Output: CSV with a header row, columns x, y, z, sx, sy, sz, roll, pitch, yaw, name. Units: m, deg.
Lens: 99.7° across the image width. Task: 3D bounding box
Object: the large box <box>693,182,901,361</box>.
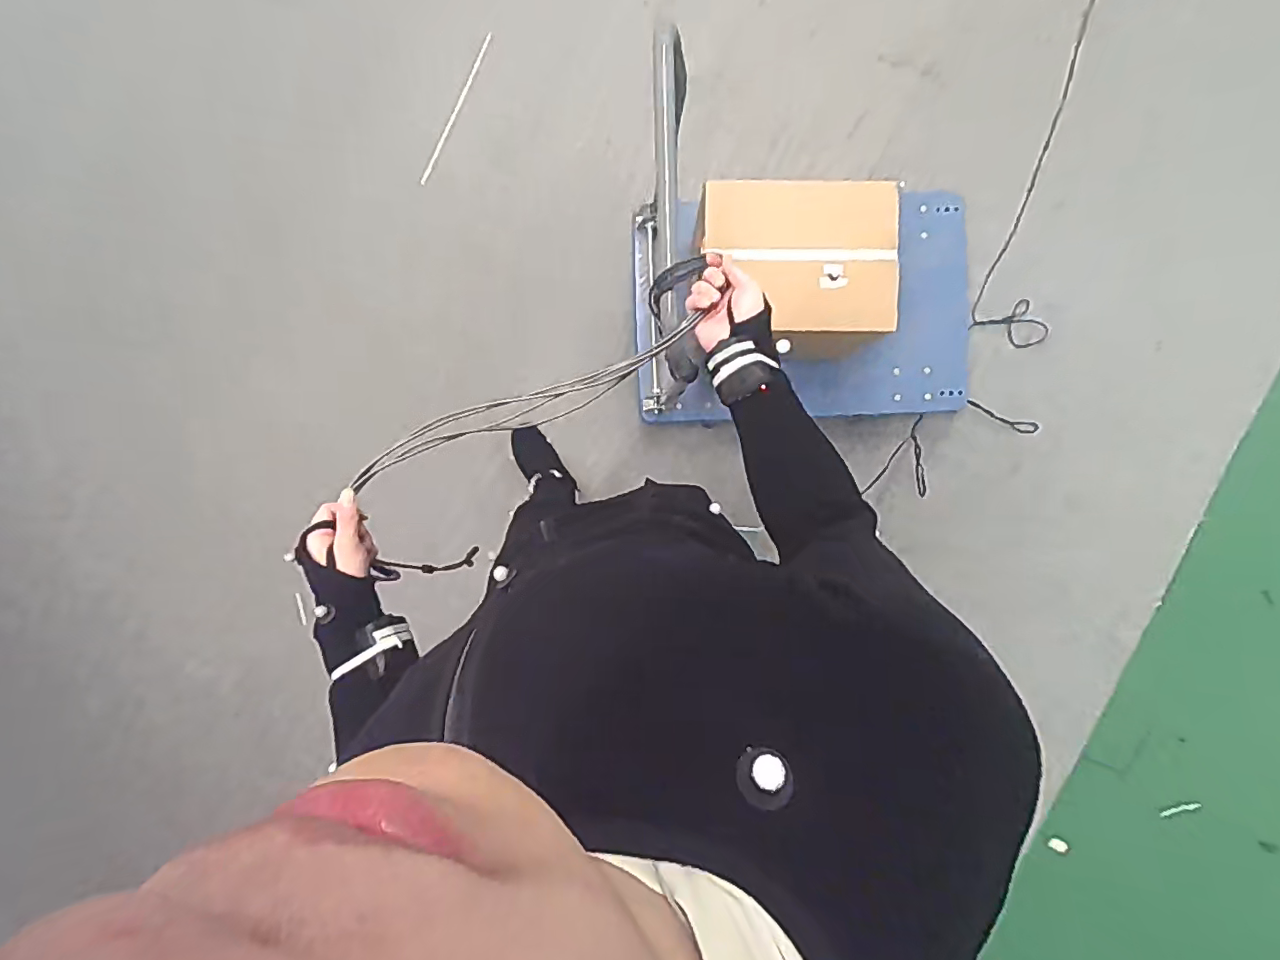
x,y,z,sx,sy,sz,roll,pitch,yaw,name
0.338,-0.463,1.266,0.408,0.320,0.320,1,92,-1,large box
